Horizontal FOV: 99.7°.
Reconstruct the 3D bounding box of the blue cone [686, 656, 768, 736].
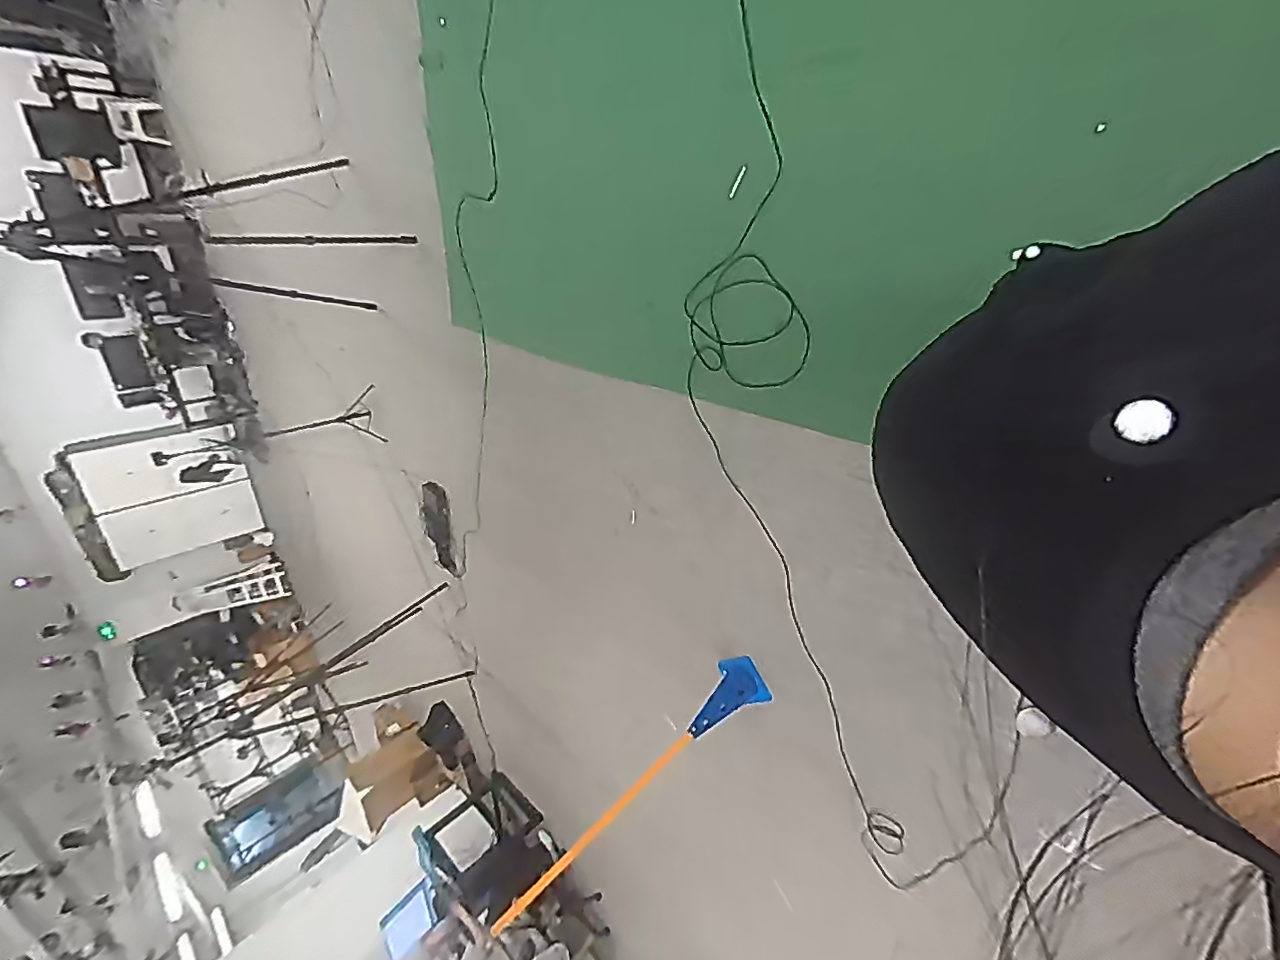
[{"bbox_3d":[0.313,0.876,2.117,0.192,0.380,0.193,59,140,5],"label":"blue cone"}]
